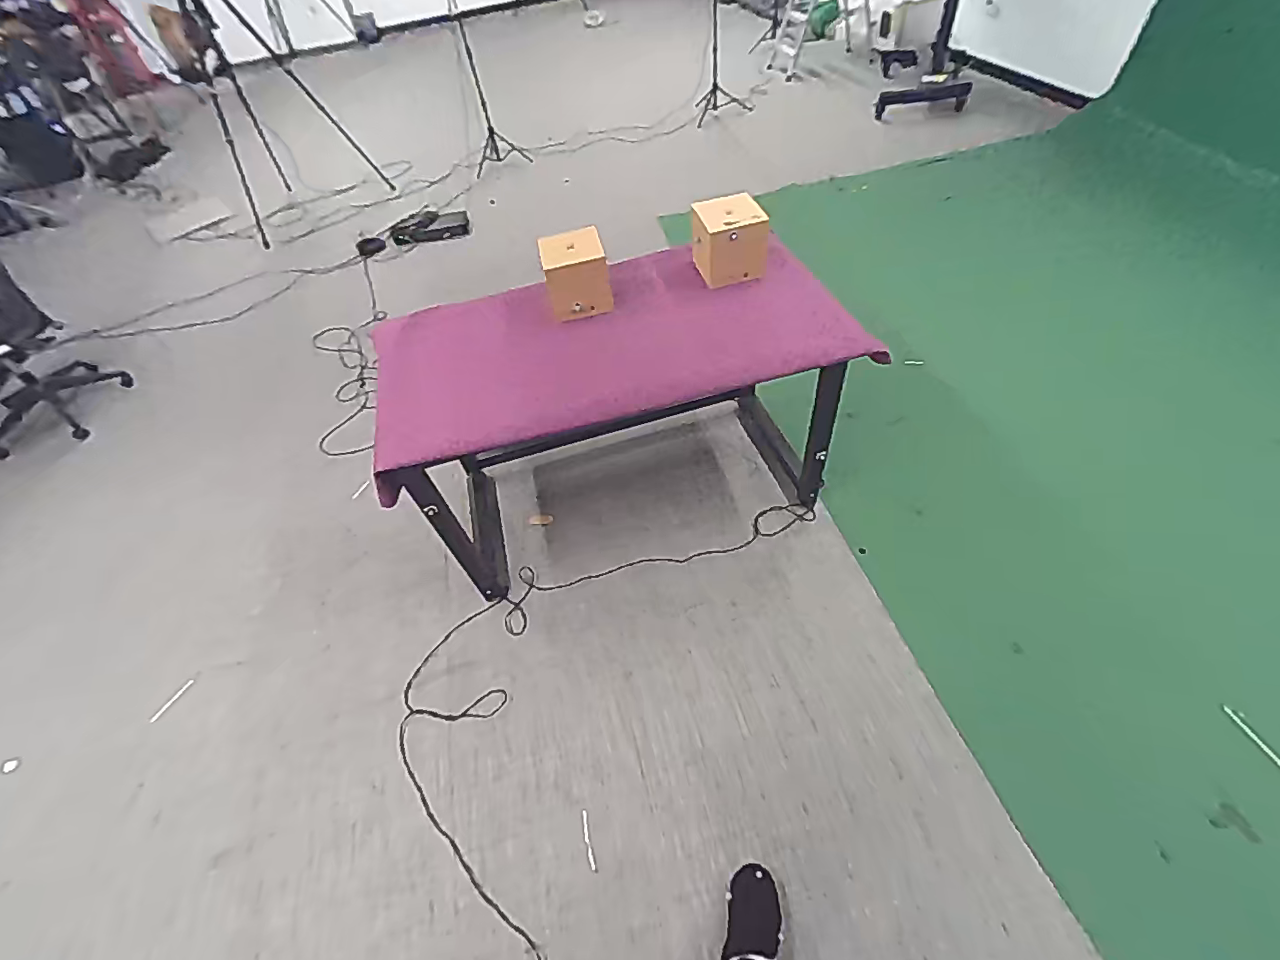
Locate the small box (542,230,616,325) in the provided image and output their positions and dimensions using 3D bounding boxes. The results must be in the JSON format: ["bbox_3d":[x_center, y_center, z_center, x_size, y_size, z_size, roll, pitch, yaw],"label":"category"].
[{"bbox_3d":[-0.168,-0.560,1.498,0.168,0.176,0.179,-13,51,-2],"label":"small box"}]

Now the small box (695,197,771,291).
[{"bbox_3d":[0.256,-0.661,1.519,0.168,0.176,0.179,-15,50,-3],"label":"small box"}]
